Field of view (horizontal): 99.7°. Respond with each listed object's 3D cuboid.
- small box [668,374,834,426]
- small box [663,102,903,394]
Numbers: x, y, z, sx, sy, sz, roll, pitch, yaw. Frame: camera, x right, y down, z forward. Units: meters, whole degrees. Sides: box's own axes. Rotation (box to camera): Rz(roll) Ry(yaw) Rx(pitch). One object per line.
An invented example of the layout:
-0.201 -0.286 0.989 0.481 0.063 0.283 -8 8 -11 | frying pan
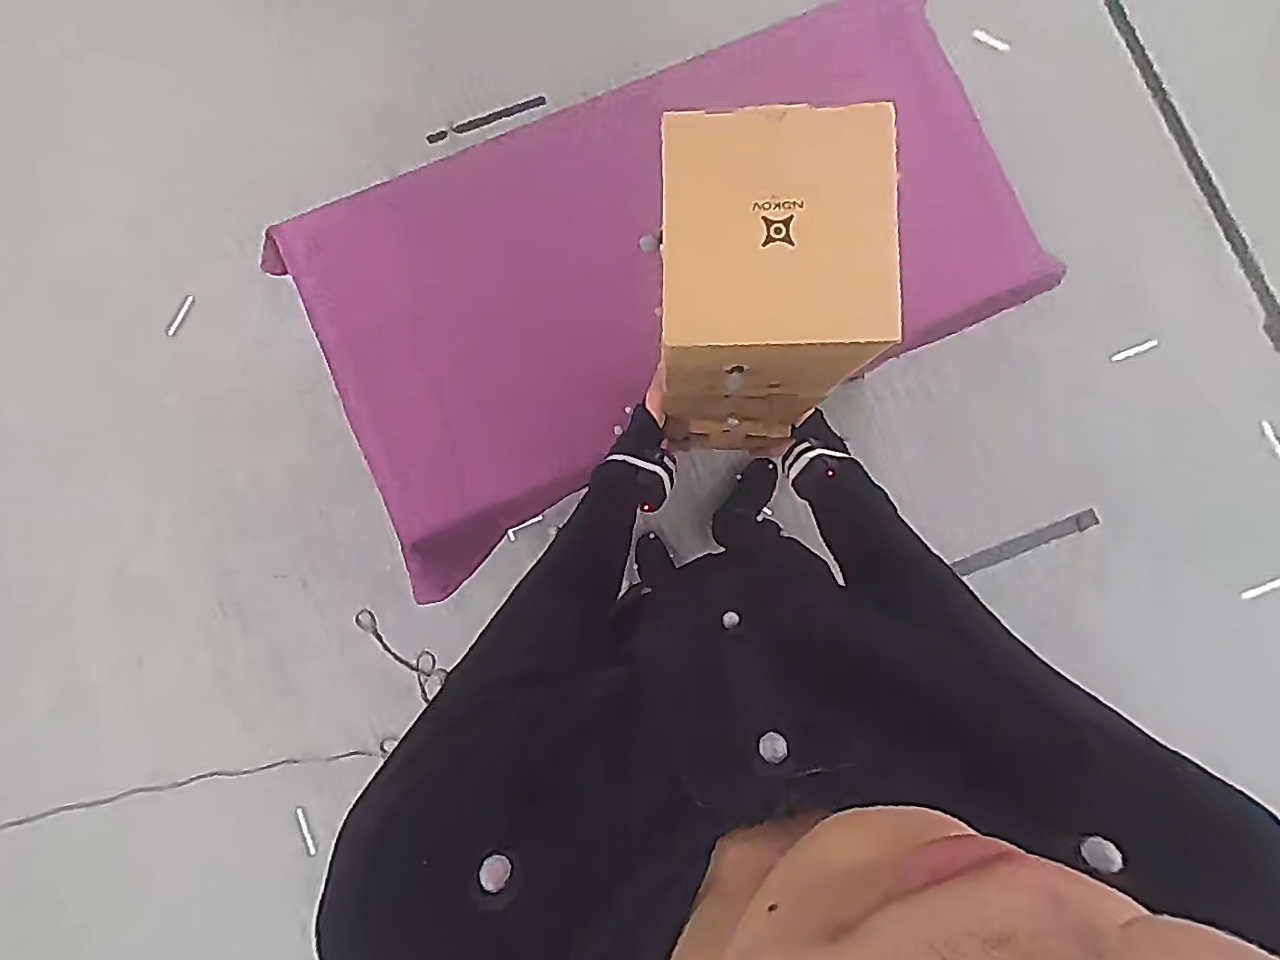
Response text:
0.118 -0.165 0.619 0.168 0.176 0.179 3 87 4 | small box
0.105 -0.172 0.457 0.168 0.176 0.179 0 86 4 | small box
